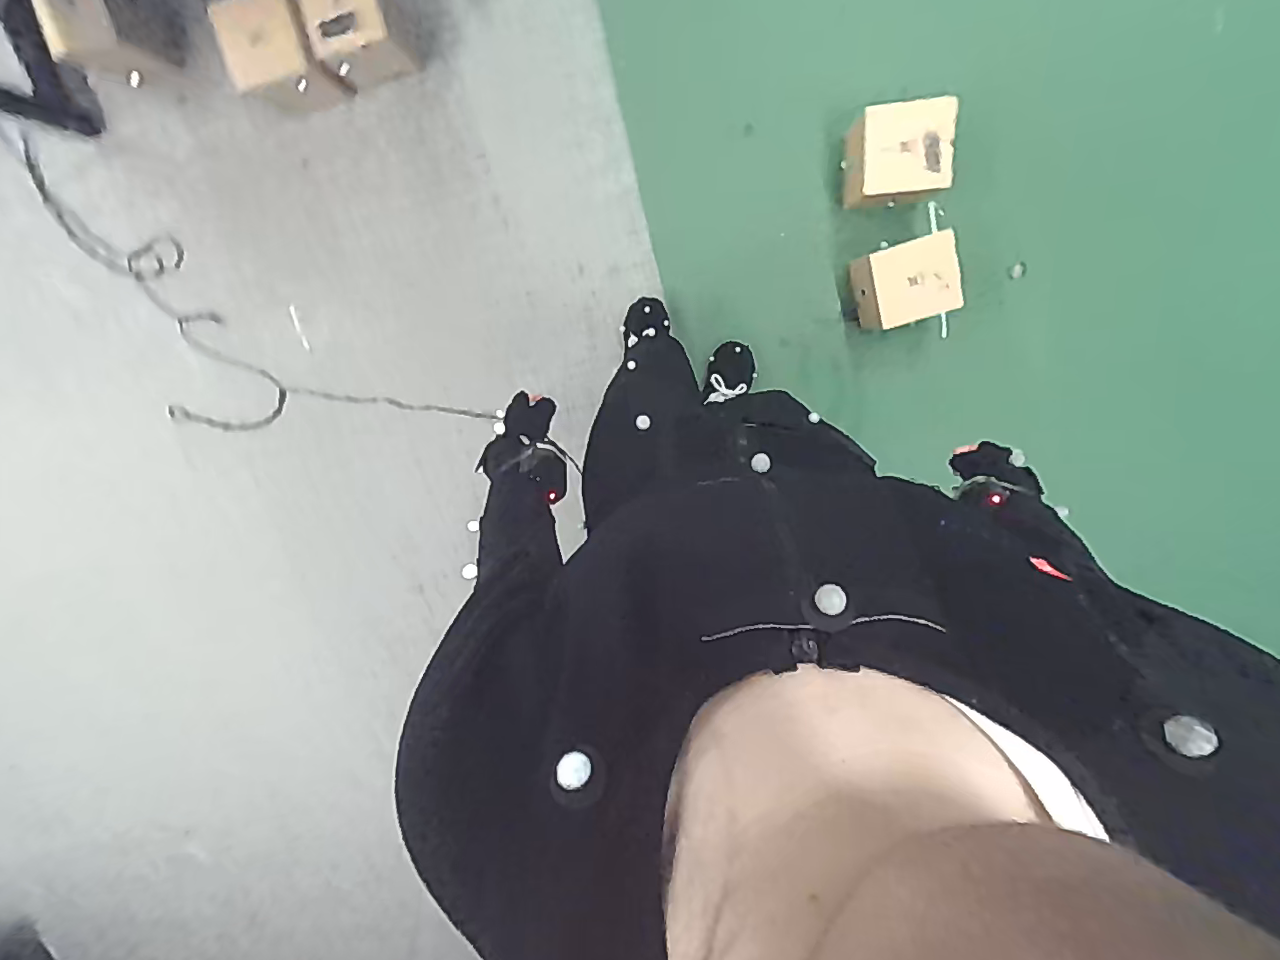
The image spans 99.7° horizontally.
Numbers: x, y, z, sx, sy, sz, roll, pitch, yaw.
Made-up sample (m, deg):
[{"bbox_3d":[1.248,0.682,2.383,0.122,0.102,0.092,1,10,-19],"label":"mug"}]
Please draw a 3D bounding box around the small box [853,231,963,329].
[{"bbox_3d":[0.602,-0.449,1.238,0.179,0.176,0.168,-15,105,8],"label":"small box"}]

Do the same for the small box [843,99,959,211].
[{"bbox_3d":[0.555,-0.695,1.173,0.179,0.176,0.168,-2,105,7],"label":"small box"}]

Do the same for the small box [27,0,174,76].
[{"bbox_3d":[-1.217,-1.057,1.217,0.168,0.176,0.179,-5,105,7],"label":"small box"}]
